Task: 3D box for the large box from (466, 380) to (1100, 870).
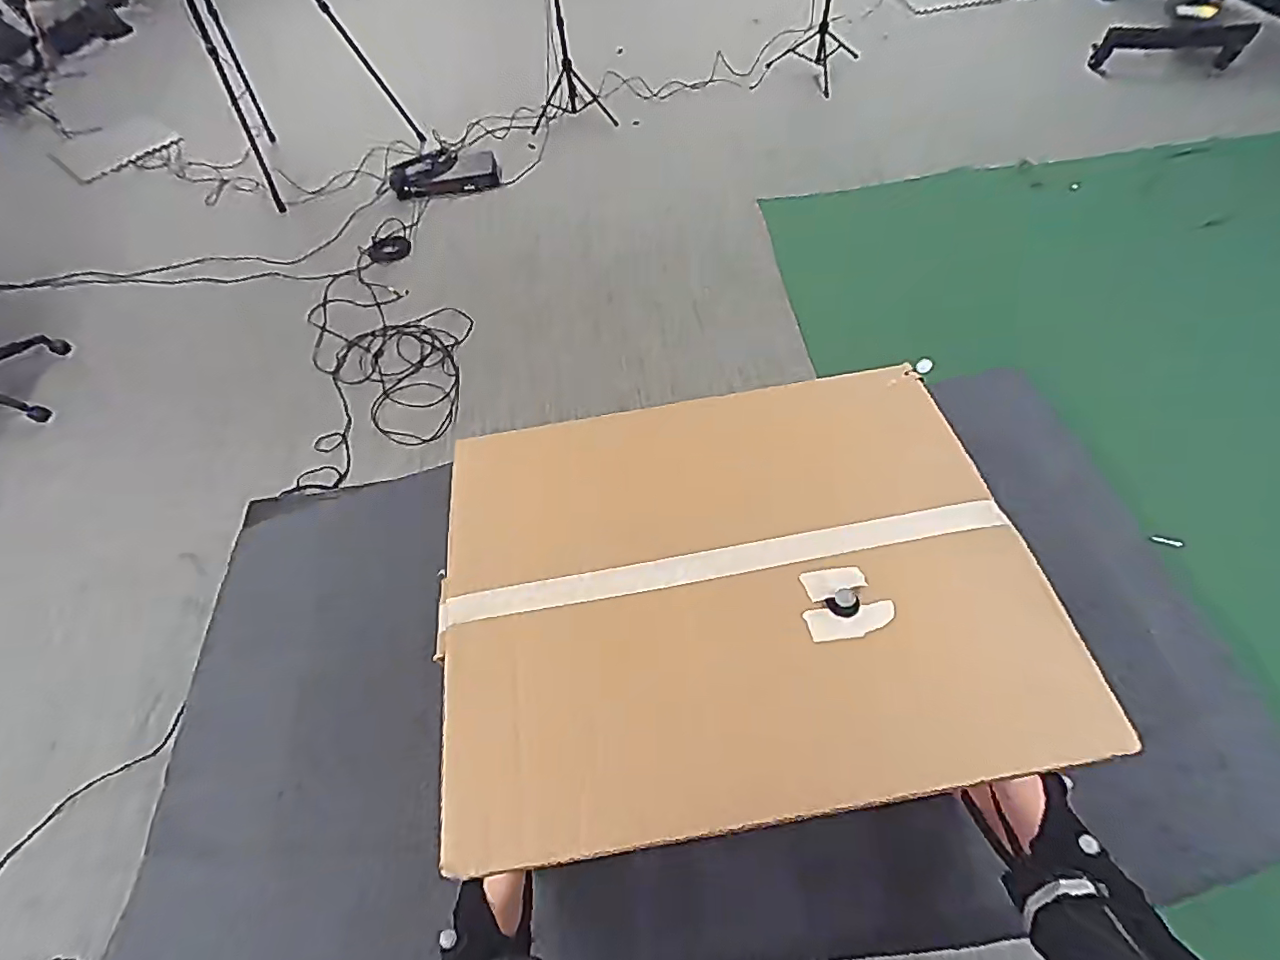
[{"bbox_3d":[0.076,0.149,0.530,0.408,0.320,0.320,-10,58,-2],"label":"large box"}]
